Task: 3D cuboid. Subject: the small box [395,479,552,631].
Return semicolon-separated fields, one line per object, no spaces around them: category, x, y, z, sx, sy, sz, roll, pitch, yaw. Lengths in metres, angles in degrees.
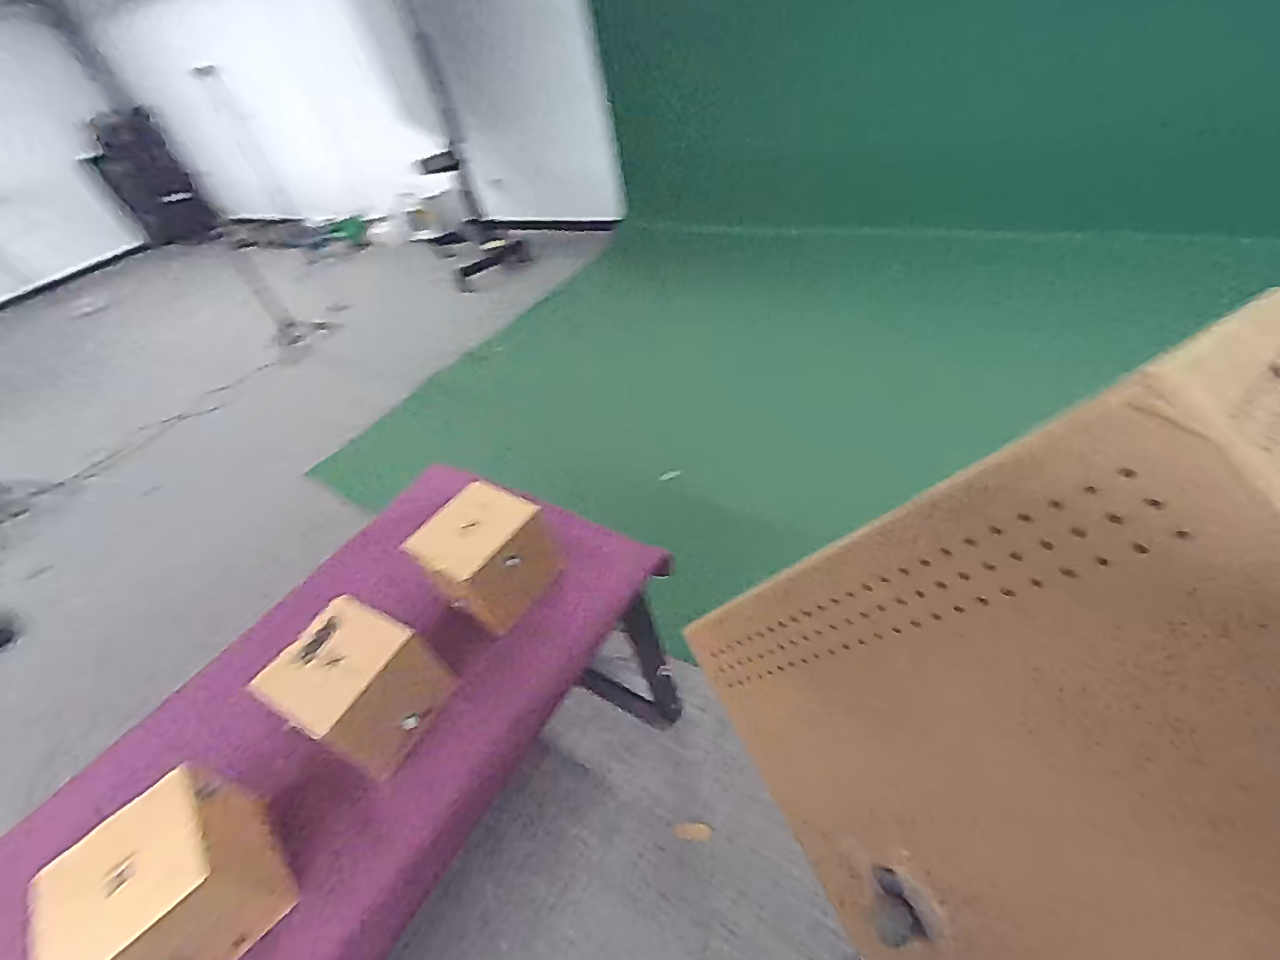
small box;-0.282;0.134;0.956;0.168;0.176;0.179;20;52;32

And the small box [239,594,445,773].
small box;-0.435;0.307;0.815;0.179;0.176;0.168;14;50;26

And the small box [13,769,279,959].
small box;-0.582;0.500;0.653;0.168;0.176;0.179;-40;48;-25
